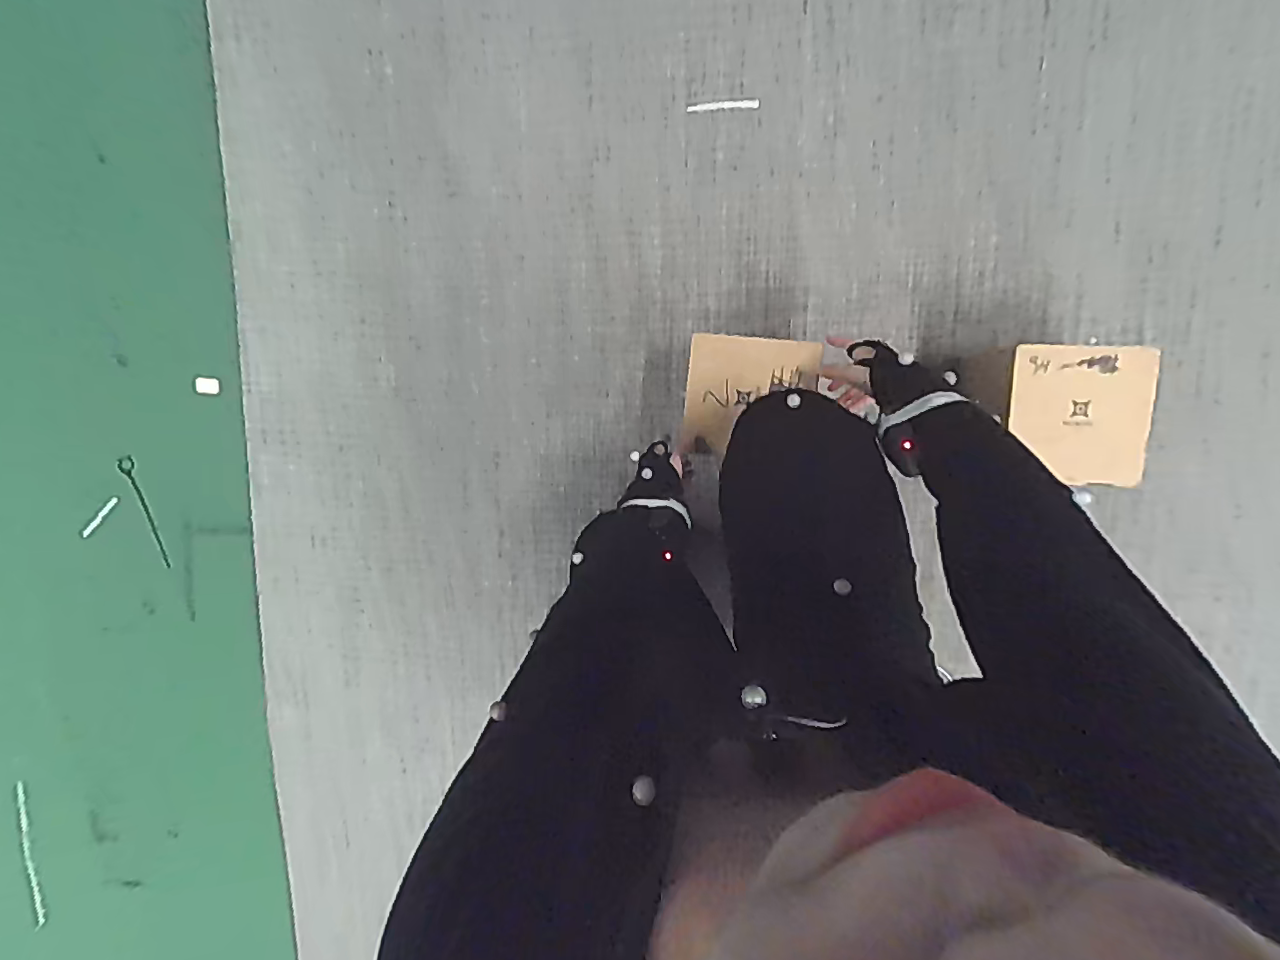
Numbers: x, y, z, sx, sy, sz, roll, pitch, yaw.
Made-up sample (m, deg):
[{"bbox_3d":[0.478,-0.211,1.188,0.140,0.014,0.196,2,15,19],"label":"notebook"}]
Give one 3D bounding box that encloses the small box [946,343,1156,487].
[{"bbox_3d":[0.553,-0.093,0.757,0.168,0.176,0.179,3,98,7],"label":"small box"}]
